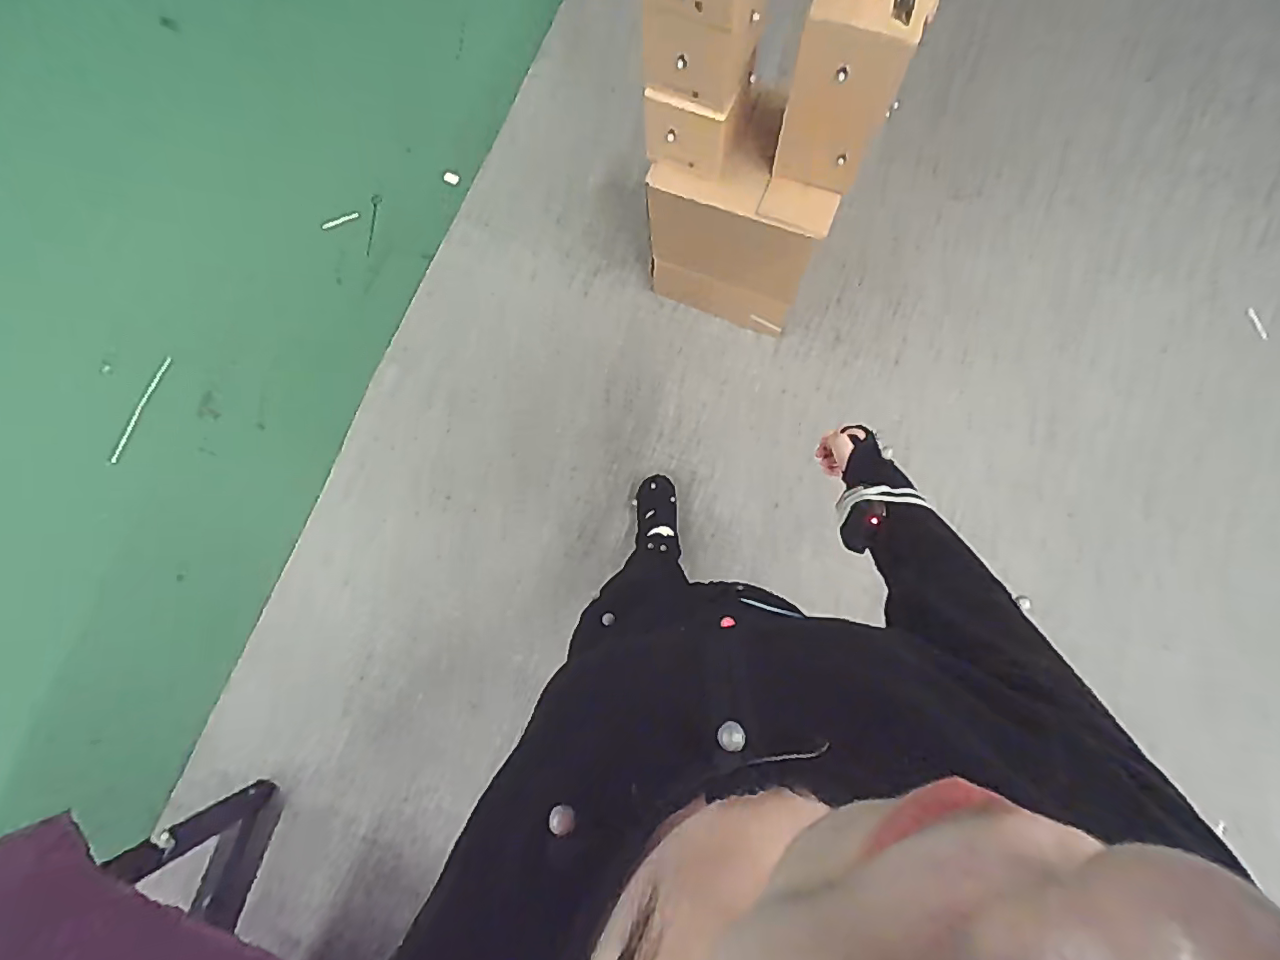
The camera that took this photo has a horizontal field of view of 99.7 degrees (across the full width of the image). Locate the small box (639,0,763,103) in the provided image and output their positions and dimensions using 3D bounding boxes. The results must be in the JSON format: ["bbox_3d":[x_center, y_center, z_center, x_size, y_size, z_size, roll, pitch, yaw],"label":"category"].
[{"bbox_3d":[0.112,-0.805,0.932,0.168,0.176,0.179,25,83,5],"label":"small box"}]

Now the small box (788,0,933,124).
[{"bbox_3d":[0.371,-0.748,0.912,0.179,0.176,0.168,22,82,8],"label":"small box"}]

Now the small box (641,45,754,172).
[{"bbox_3d":[0.113,-0.768,1.093,0.168,0.176,0.179,23,83,5],"label":"small box"}]

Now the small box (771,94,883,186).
[{"bbox_3d":[0.379,-0.723,1.074,0.179,0.176,0.168,20,82,7],"label":"small box"}]
